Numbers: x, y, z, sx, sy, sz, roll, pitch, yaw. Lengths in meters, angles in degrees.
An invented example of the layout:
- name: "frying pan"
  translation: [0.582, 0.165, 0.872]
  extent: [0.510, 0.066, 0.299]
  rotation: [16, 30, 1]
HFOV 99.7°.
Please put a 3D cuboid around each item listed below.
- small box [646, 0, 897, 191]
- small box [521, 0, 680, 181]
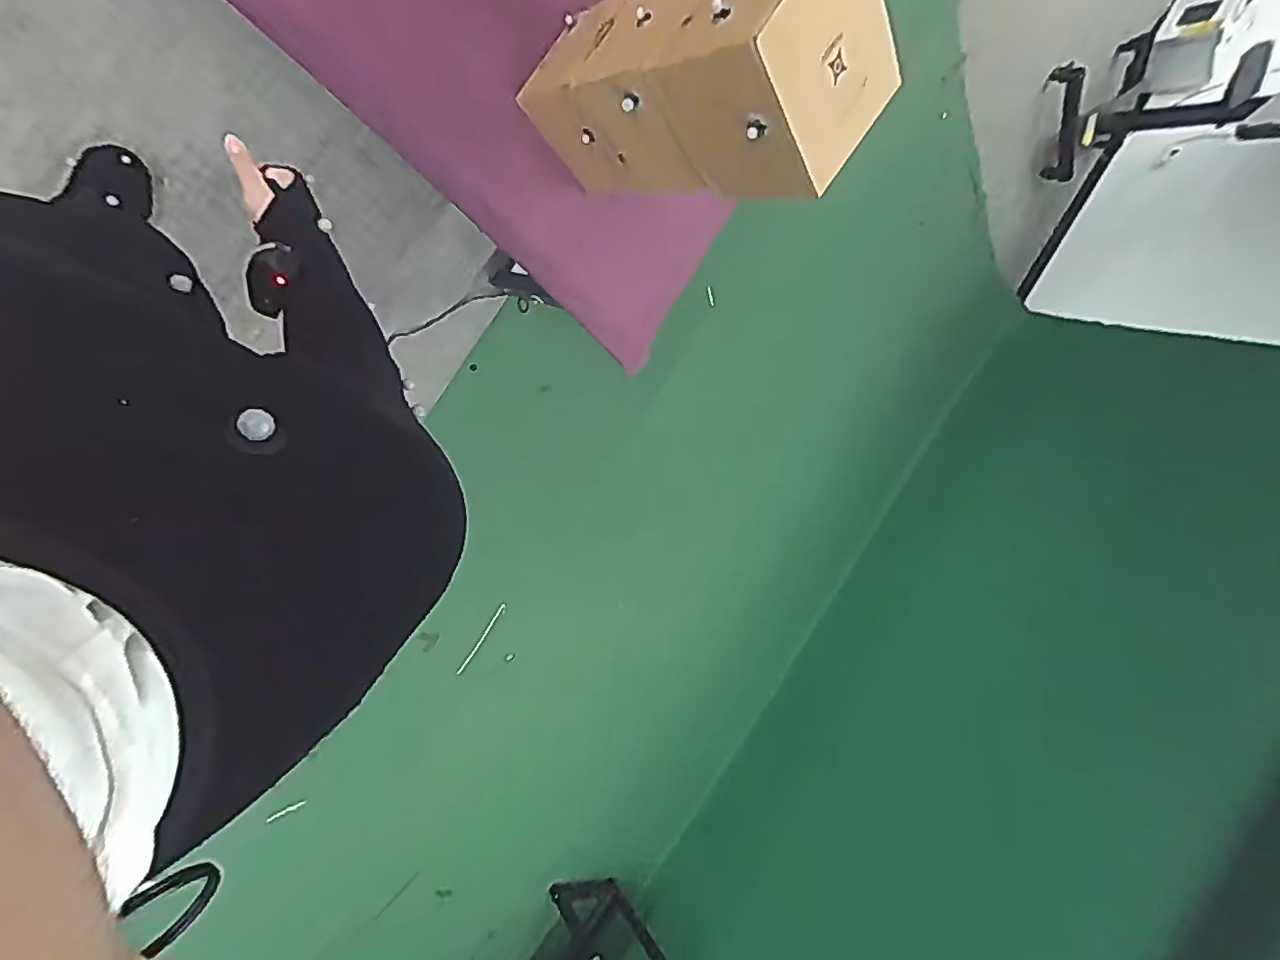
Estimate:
- name: "small box"
  translation: [0.139, -0.440, 0.583]
  extent: [0.168, 0.176, 0.179]
  rotation: [-53, 135, -3]
- name: "small box"
  translation: [-0.046, -0.579, 0.815]
  extent: [0.168, 0.176, 0.179]
  rotation: [-55, 135, -2]
